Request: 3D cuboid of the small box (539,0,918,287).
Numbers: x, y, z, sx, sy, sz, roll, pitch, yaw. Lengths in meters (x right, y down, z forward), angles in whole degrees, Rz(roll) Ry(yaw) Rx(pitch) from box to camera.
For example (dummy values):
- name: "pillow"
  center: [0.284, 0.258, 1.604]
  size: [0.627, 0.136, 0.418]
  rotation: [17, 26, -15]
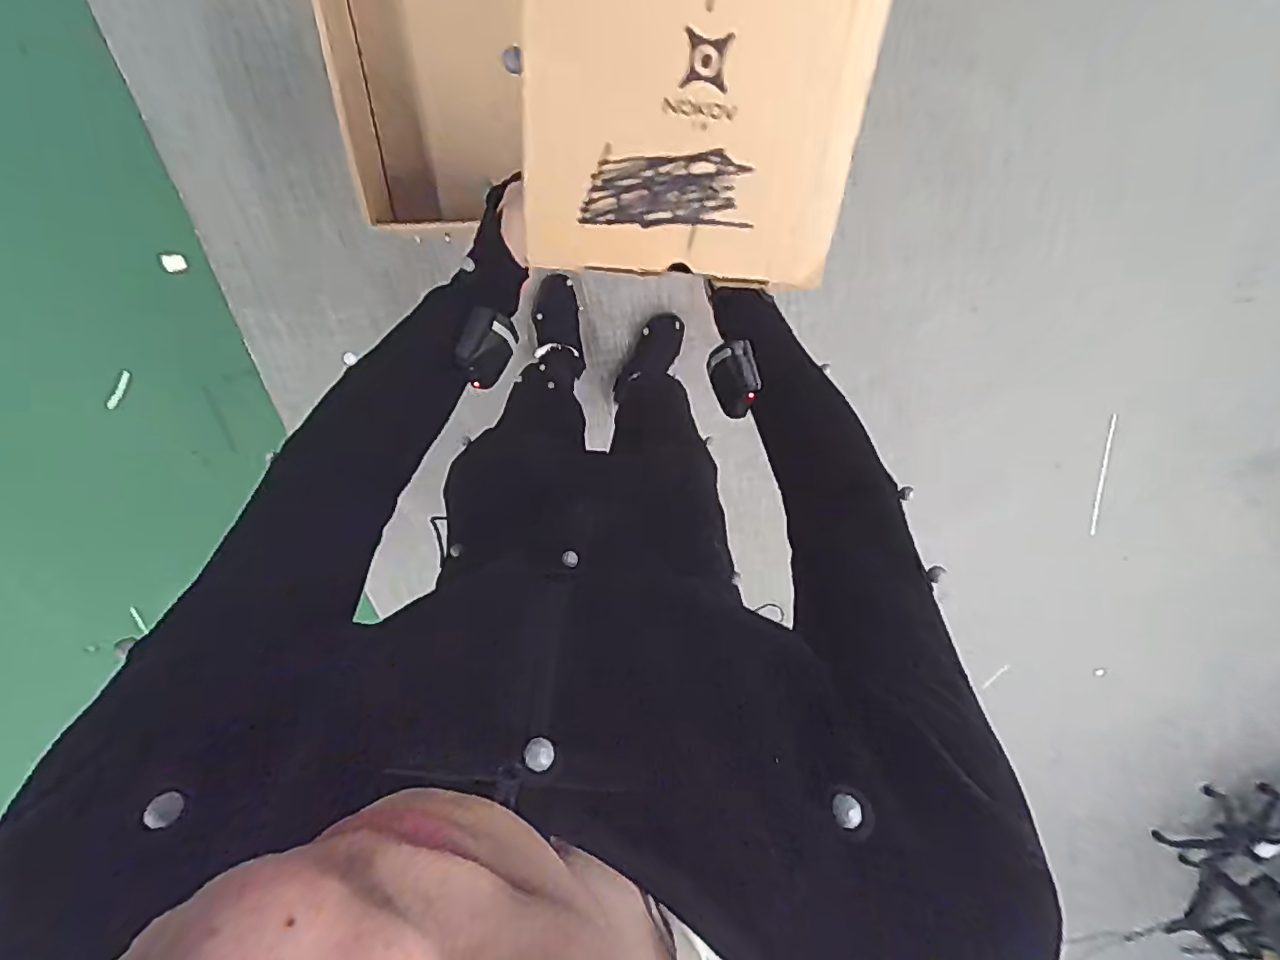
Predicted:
- name: "small box"
  center: [0.030, -0.226, 0.316]
  size: [0.168, 0.176, 0.179]
  rotation: [2, 120, -9]
